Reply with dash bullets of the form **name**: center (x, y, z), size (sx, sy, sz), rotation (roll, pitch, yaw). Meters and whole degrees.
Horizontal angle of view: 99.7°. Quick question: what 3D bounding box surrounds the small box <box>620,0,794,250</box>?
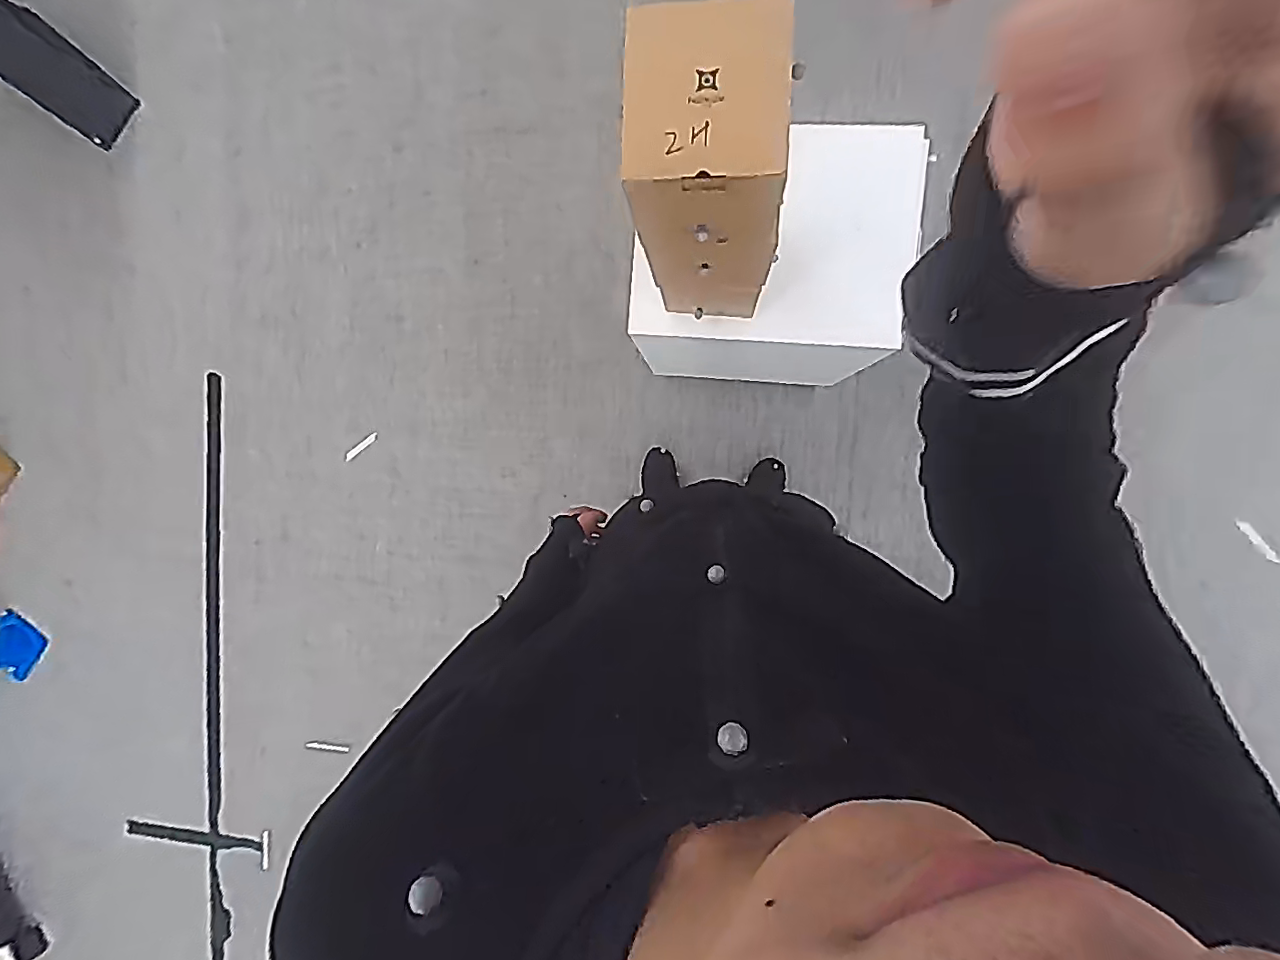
- **small box**: center (0.074, -0.381, 0.610), size (0.168, 0.176, 0.179), rotation (2, 92, 8)

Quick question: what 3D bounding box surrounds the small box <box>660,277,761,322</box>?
- **small box**: center (0.124, -0.388, 0.934), size (0.168, 0.176, 0.179), rotation (6, 93, 6)

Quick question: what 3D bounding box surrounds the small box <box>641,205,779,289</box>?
- **small box**: center (0.100, -0.381, 0.772), size (0.179, 0.176, 0.168), rotation (2, 92, 8)
